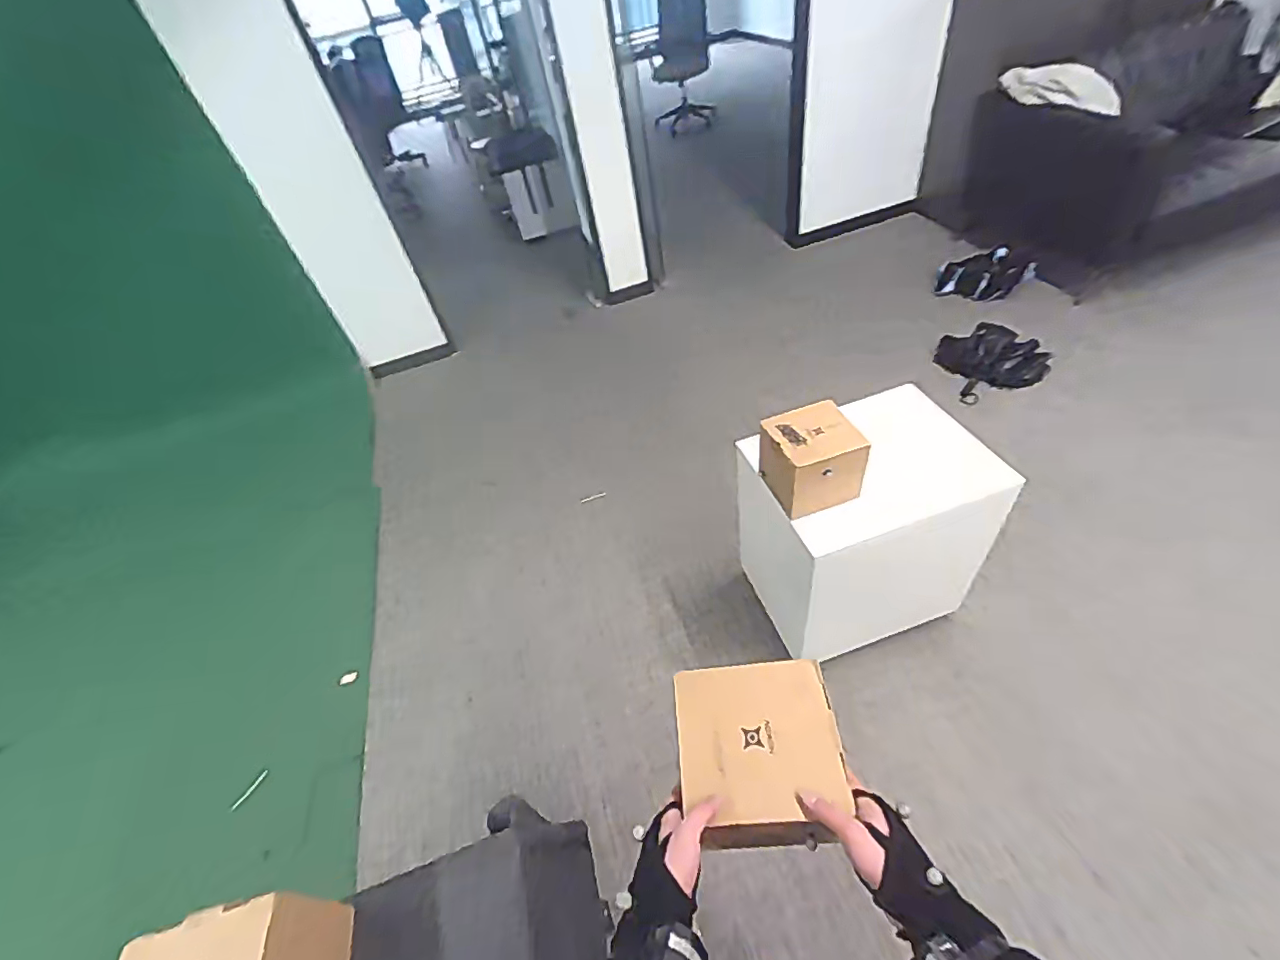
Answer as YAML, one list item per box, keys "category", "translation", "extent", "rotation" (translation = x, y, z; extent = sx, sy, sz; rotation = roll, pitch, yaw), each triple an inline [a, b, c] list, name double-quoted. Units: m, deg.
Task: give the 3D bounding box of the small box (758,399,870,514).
- category: "small box"
  translation: [0.375, -0.049, 1.199]
  extent: [0.179, 0.176, 0.168]
  rotation: [-17, 47, -8]

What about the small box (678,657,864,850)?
- category: "small box"
  translation: [0.146, 0.330, 0.647]
  extent: [0.179, 0.176, 0.168]
  rotation: [-8, 48, 6]

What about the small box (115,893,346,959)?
- category: "small box"
  translation: [-0.445, 0.585, 0.582]
  extent: [0.168, 0.176, 0.179]
  rotation: [-16, 47, -5]
